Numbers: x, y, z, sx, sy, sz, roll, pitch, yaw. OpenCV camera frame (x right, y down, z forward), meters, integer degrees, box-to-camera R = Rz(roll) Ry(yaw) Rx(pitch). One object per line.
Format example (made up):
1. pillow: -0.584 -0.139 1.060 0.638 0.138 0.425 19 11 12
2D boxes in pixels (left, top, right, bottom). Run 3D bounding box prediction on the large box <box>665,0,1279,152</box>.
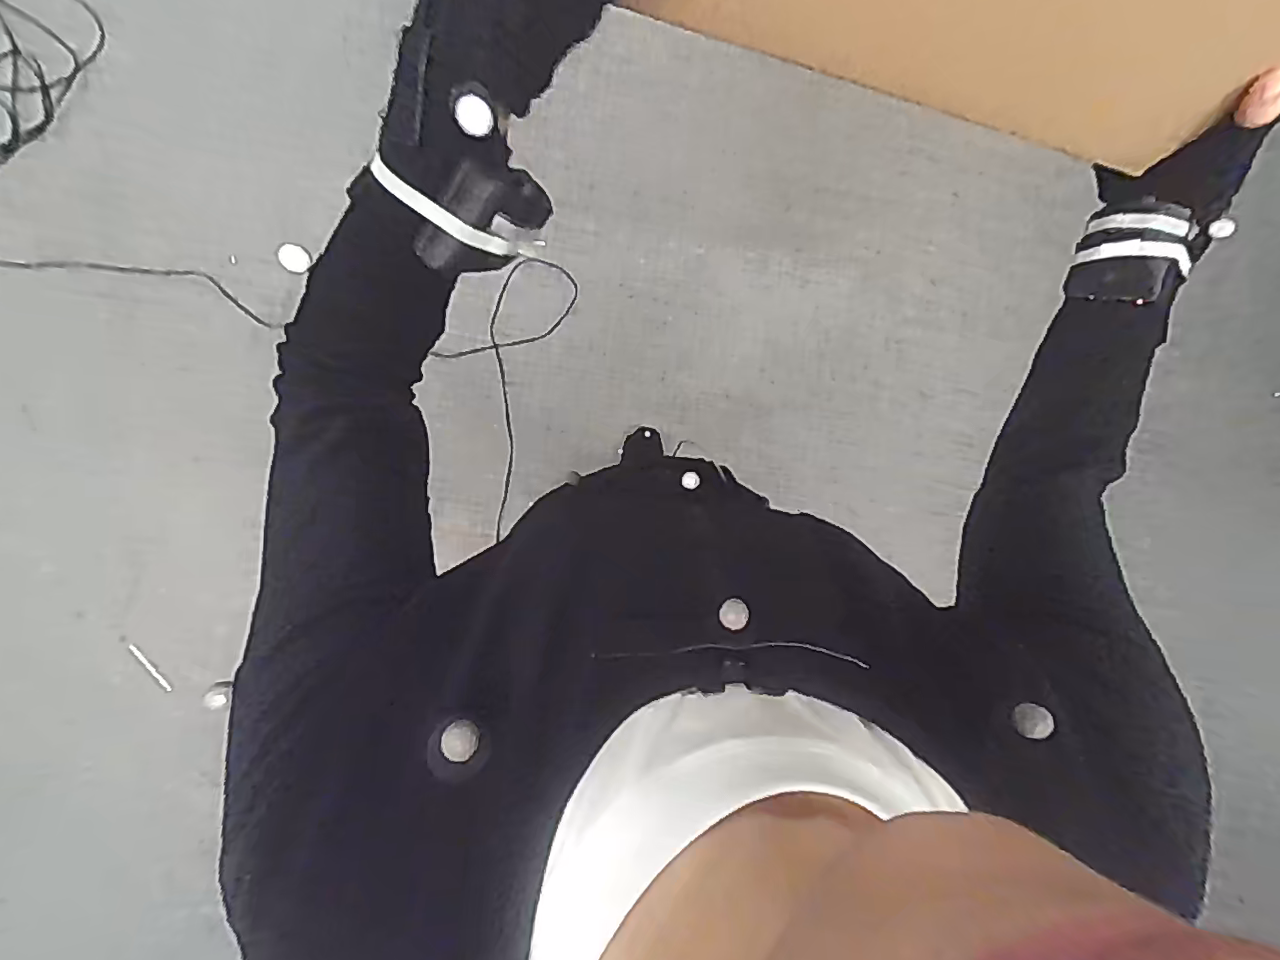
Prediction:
1. large box: 0.206 -0.401 0.205 0.408 0.320 0.320 -1 80 -22
